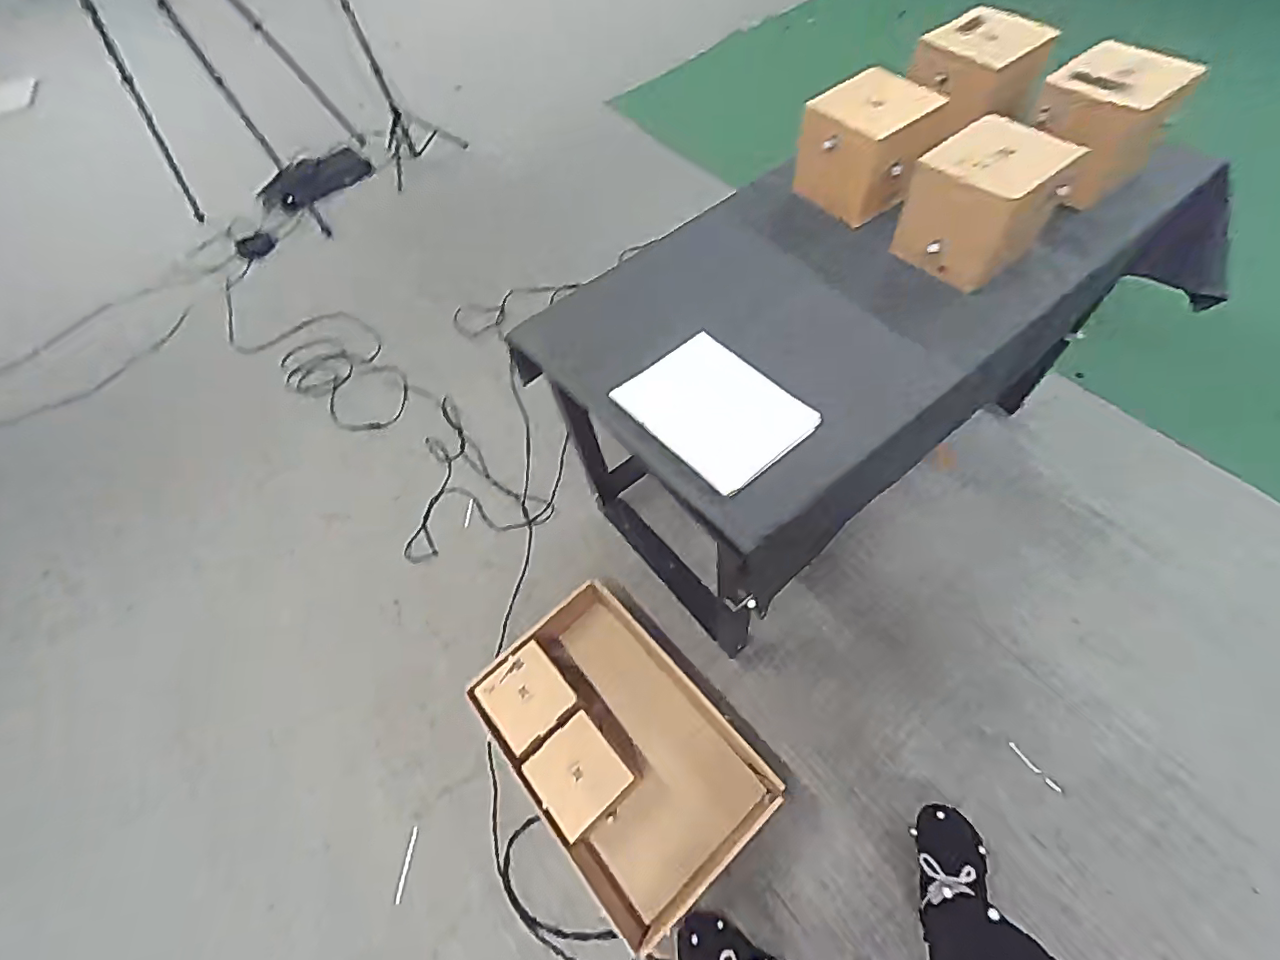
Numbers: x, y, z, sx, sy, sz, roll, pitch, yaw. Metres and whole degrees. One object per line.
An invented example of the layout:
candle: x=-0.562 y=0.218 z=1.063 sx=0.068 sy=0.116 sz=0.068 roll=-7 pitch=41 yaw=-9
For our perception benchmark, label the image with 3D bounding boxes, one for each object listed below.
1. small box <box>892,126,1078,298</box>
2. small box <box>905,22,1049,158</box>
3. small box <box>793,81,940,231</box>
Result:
small box: x=0.555 y=-0.441 z=0.900 sx=0.179 sy=0.176 sz=0.168 roll=-36 pitch=60 yaw=-13
small box: x=0.646 y=-0.765 z=1.081 sx=0.168 sy=0.176 sz=0.179 roll=-34 pitch=61 yaw=-12
small box: x=0.414 y=-0.602 z=1.020 sx=0.168 sy=0.176 sz=0.179 roll=-34 pitch=60 yaw=-12
